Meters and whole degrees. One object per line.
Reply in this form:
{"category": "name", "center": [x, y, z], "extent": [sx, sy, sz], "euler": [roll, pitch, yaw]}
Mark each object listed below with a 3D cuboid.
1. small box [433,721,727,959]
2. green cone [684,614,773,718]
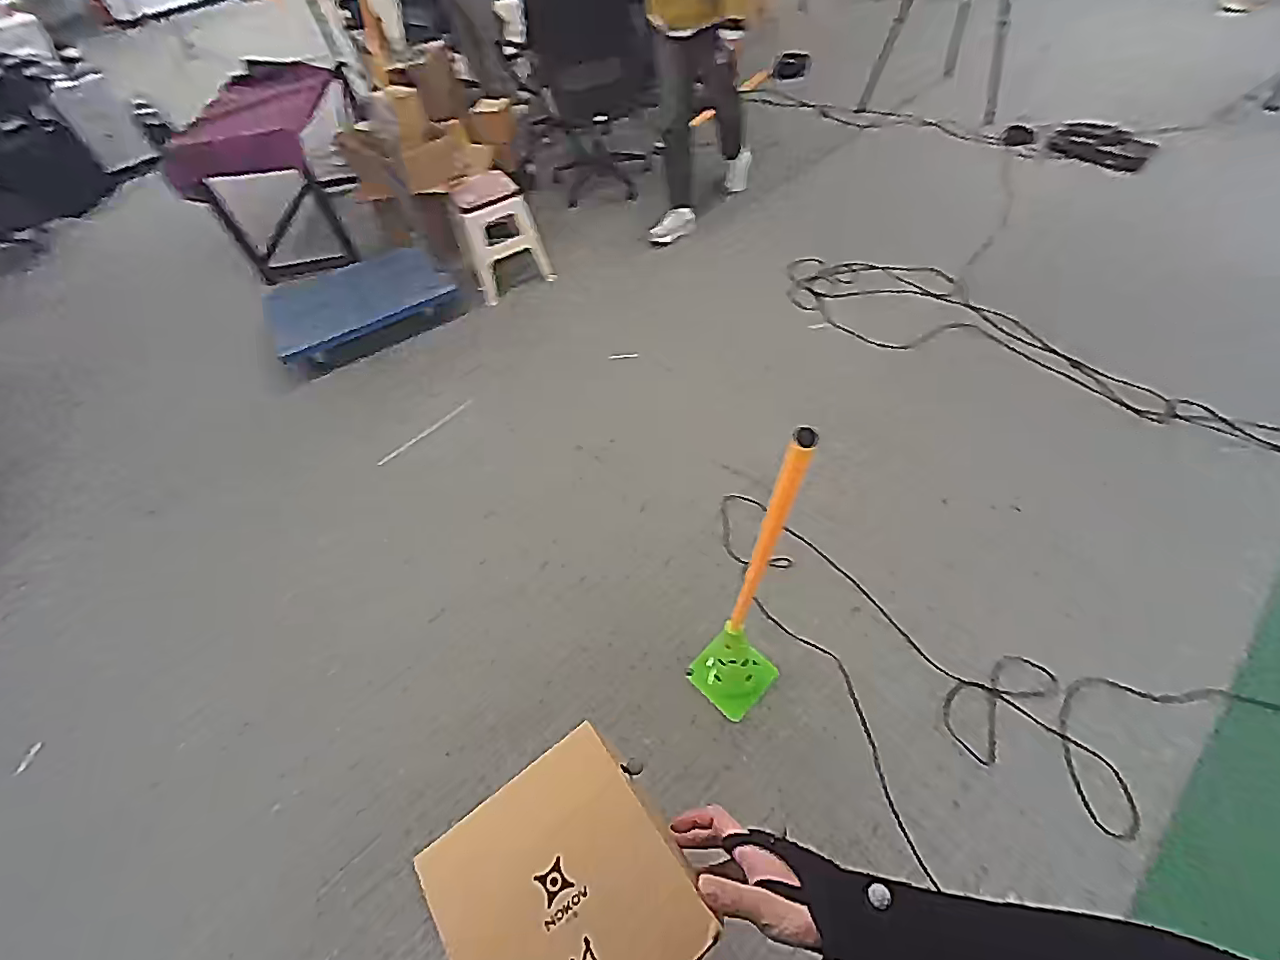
{"category": "small box", "center": [-0.043, 0.348, 0.468], "extent": [0.168, 0.176, 0.179], "euler": [-32, 57, -14]}
{"category": "green cone", "center": [0.241, 0.449, 1.427], "extent": [0.202, 0.368, 0.200], "euler": [-39, 59, -22]}
